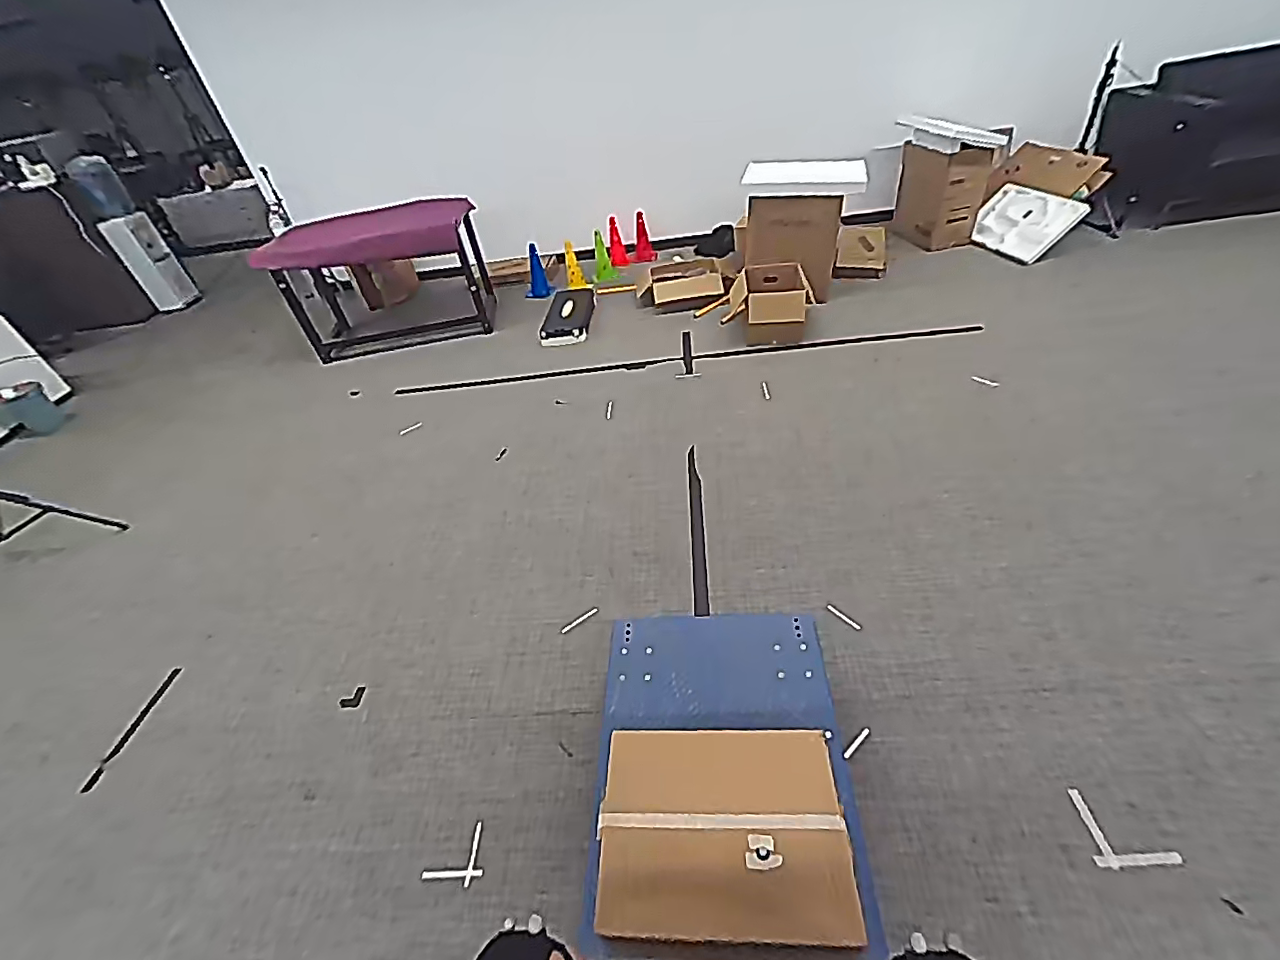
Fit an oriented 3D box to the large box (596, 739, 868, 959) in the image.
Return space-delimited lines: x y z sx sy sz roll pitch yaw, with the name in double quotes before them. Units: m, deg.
"large box" 0.151 0.703 0.994 0.408 0.320 0.320 -4 41 7
